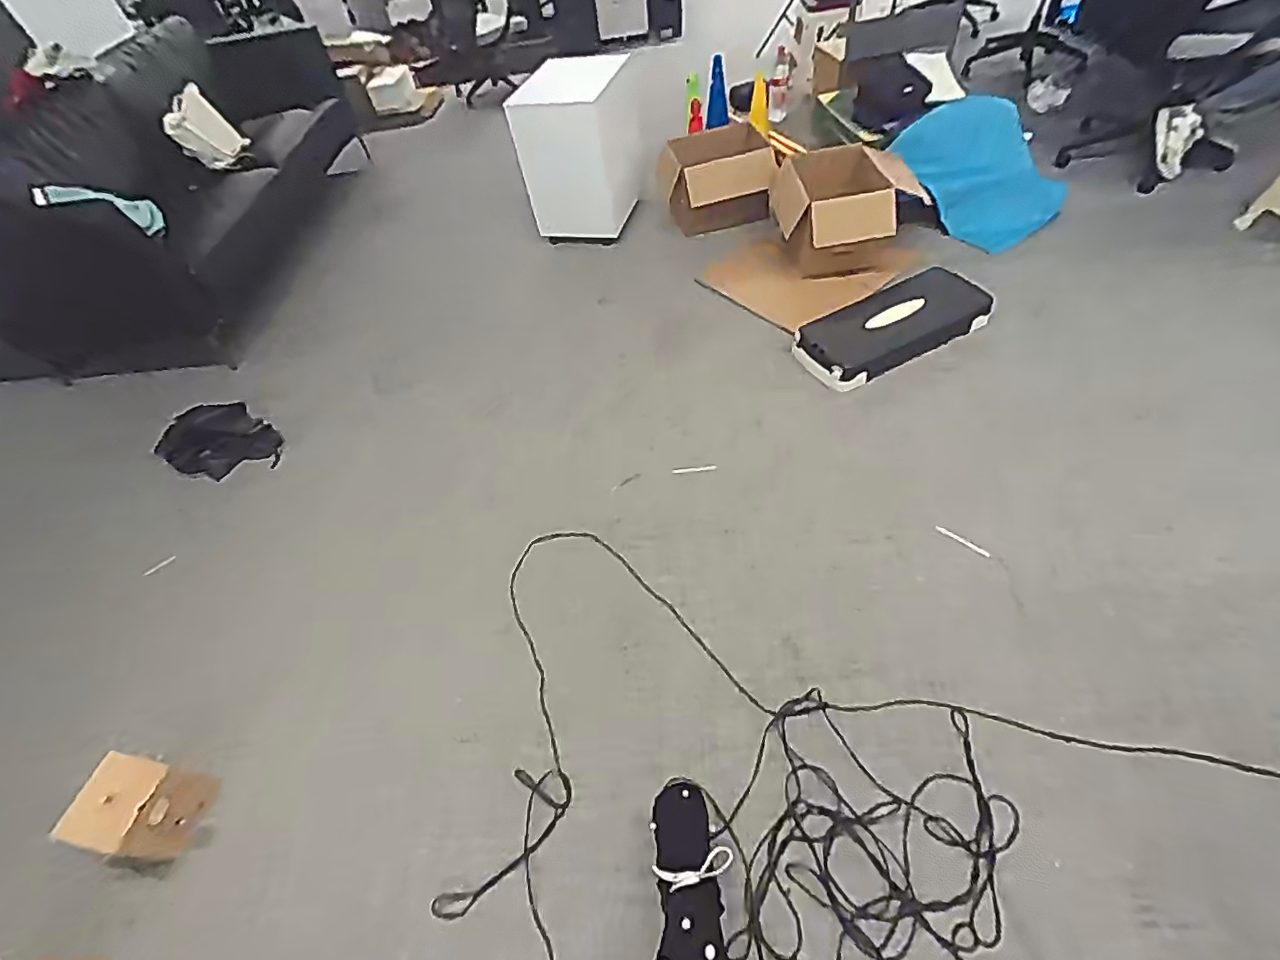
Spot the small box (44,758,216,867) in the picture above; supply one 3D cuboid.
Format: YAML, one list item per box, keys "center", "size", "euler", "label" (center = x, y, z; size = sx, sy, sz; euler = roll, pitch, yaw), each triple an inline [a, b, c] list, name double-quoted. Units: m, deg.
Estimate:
- center: [-1.106, 0.734, 1.189]
  size: [0.179, 0.176, 0.168]
  euler: [5, 53, 12]
  label: "small box"
